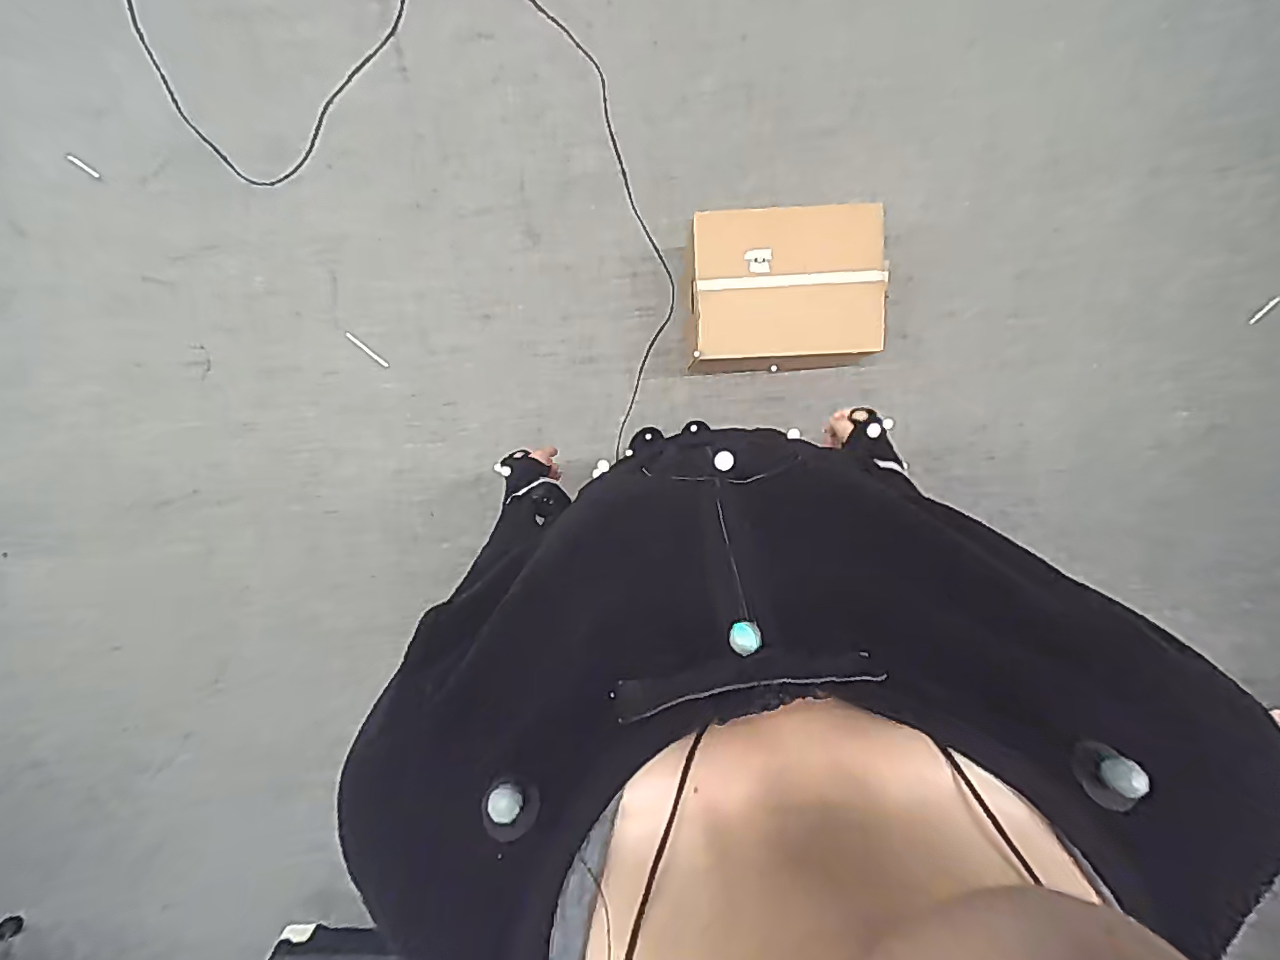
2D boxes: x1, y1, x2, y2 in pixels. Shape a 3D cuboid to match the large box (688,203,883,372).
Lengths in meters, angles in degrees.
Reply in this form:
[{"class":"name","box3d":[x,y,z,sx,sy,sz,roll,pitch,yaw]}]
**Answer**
[{"class":"large box","box3d":[0.328,-0.439,1.313,0.408,0.320,0.320,-2,95,2]}]
